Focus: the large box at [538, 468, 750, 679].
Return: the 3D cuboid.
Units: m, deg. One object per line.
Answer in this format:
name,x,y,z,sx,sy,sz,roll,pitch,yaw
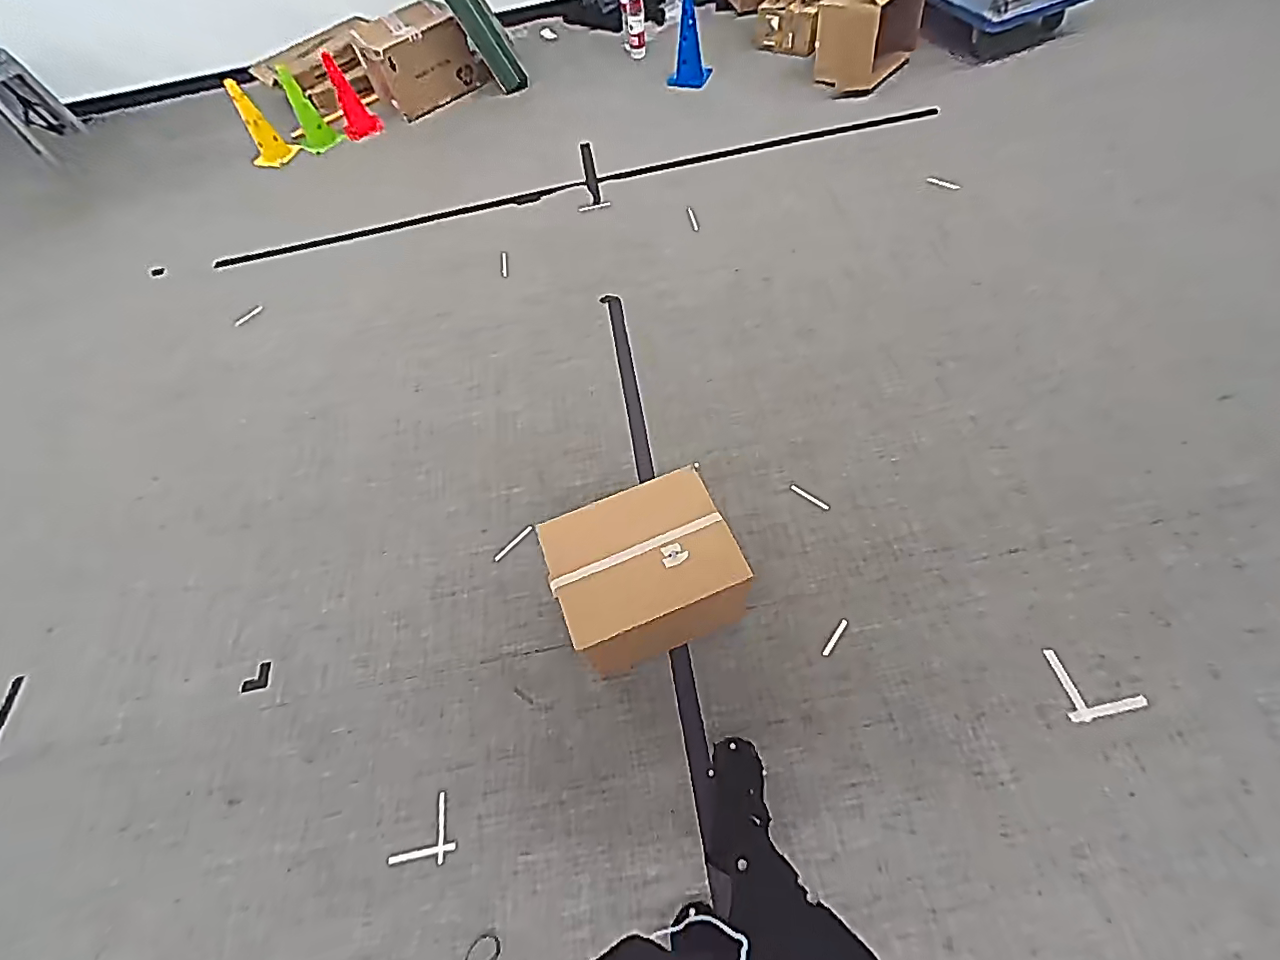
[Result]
large box,0.012,0.238,1.325,0.408,0.320,0.320,-21,60,-6
